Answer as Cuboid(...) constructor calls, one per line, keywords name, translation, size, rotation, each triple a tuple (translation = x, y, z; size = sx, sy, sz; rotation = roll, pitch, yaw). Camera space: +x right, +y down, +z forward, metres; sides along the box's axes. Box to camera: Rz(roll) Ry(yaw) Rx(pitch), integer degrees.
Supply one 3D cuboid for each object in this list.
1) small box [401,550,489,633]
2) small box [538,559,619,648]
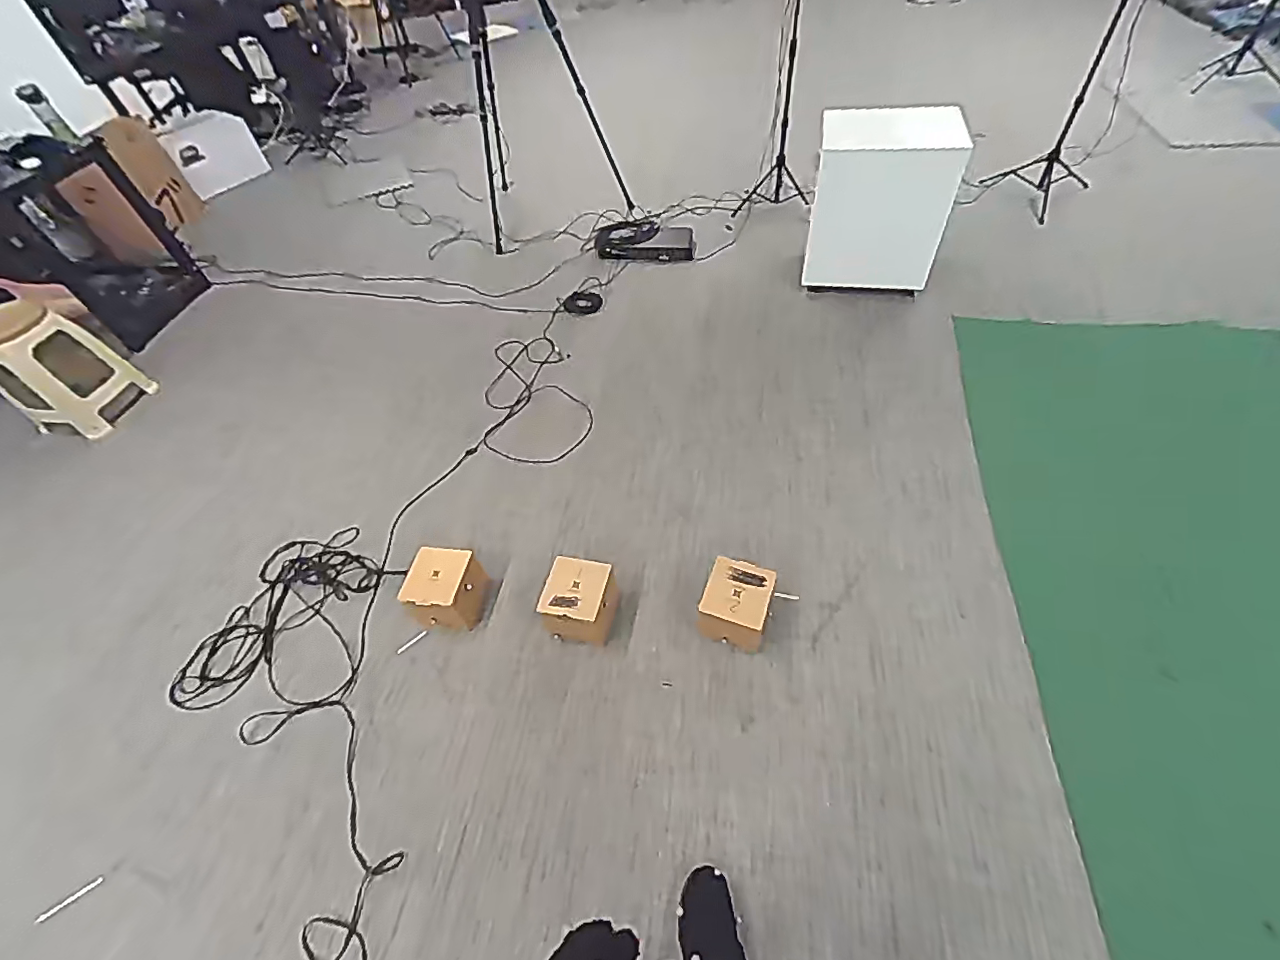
Cuboid(name="small box", translation=(-0.560, 0.327, 1.586), size=(0.168, 0.176, 0.179), rotation=(3, 52, 10))
Cuboid(name="small box", translation=(-0.163, 0.350, 1.518), size=(0.168, 0.176, 0.179), rotation=(8, 52, 13))
